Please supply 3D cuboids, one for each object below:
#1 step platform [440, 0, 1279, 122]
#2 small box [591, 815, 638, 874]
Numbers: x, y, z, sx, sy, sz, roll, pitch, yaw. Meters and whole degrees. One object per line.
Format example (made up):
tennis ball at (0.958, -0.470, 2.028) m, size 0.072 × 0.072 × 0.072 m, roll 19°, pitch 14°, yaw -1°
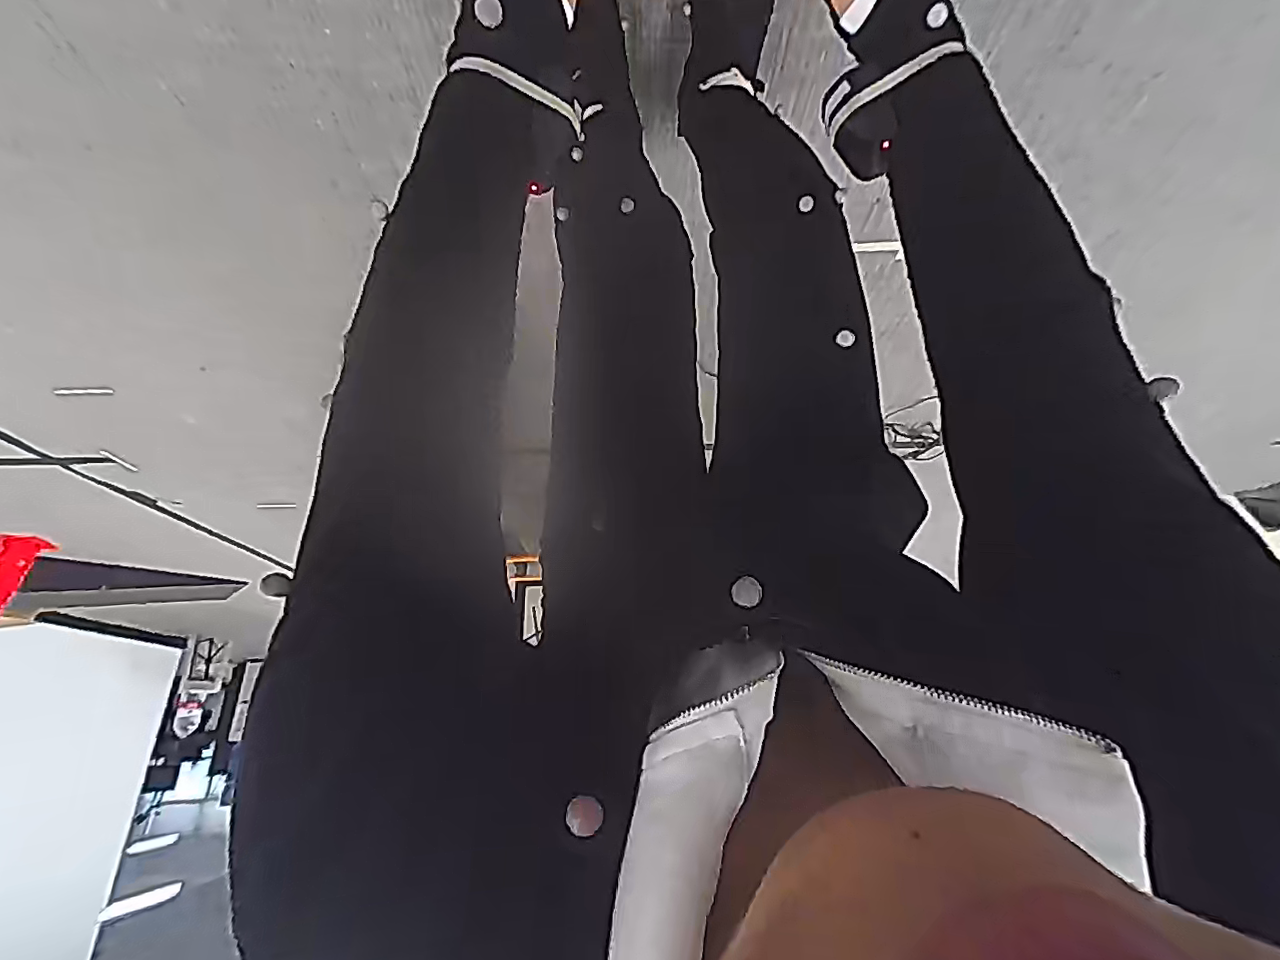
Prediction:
step platform at (0.187, -0.468, 0.390) m, size 0.684 × 0.204 × 0.286 m, roll -3°, pitch 155°, yaw -1°
small box at (-0.098, 1.434, 2.137) m, size 0.179 × 0.176 × 0.168 m, roll -3°, pitch 156°, yaw 0°
